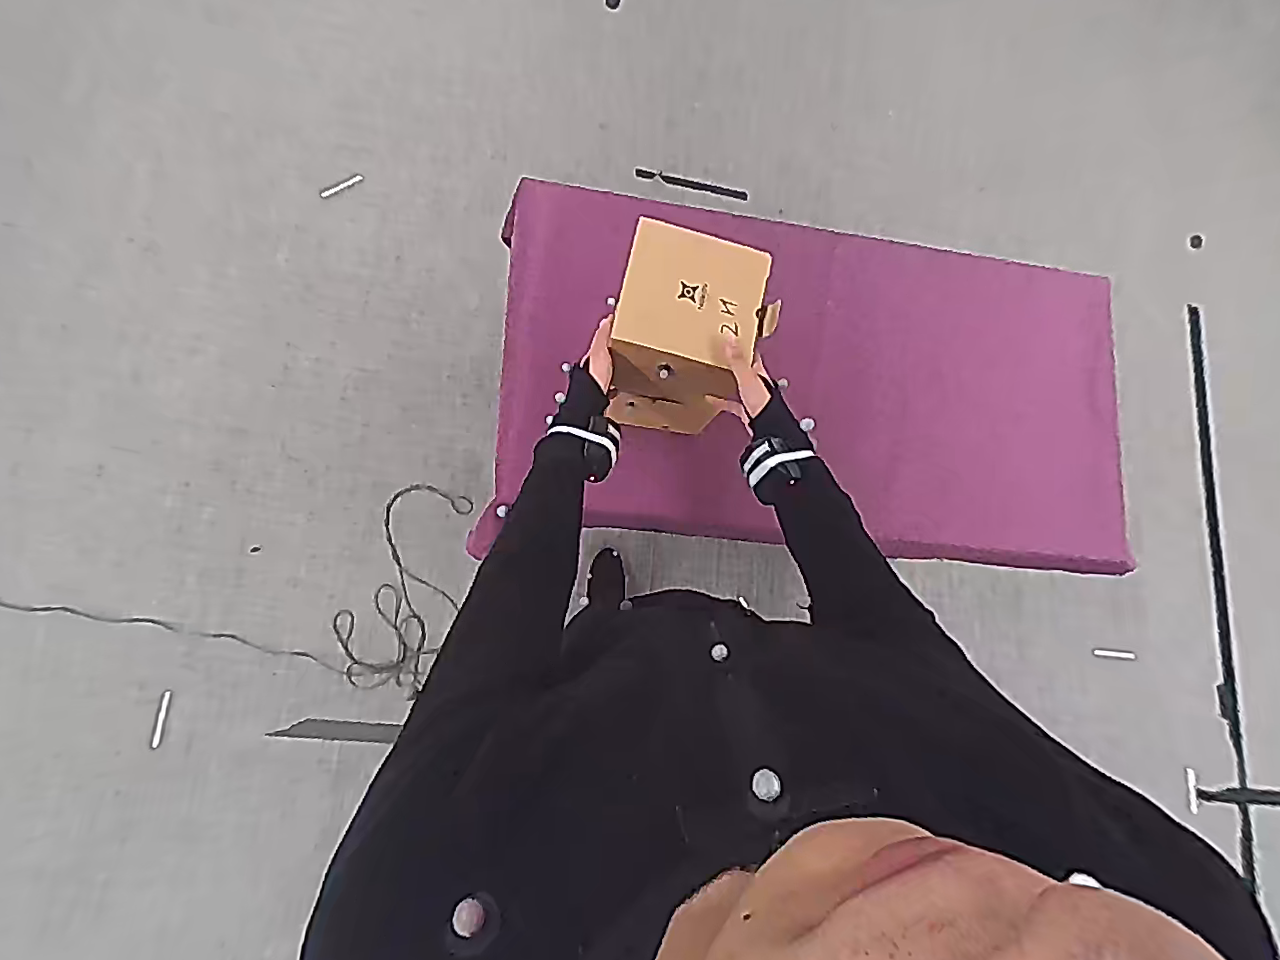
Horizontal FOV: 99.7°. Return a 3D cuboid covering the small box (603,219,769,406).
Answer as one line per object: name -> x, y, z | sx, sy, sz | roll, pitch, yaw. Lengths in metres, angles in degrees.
small box -> 0.052, -0.213, 0.737 | 0.179, 0.176, 0.168 | 14, 80, -7
